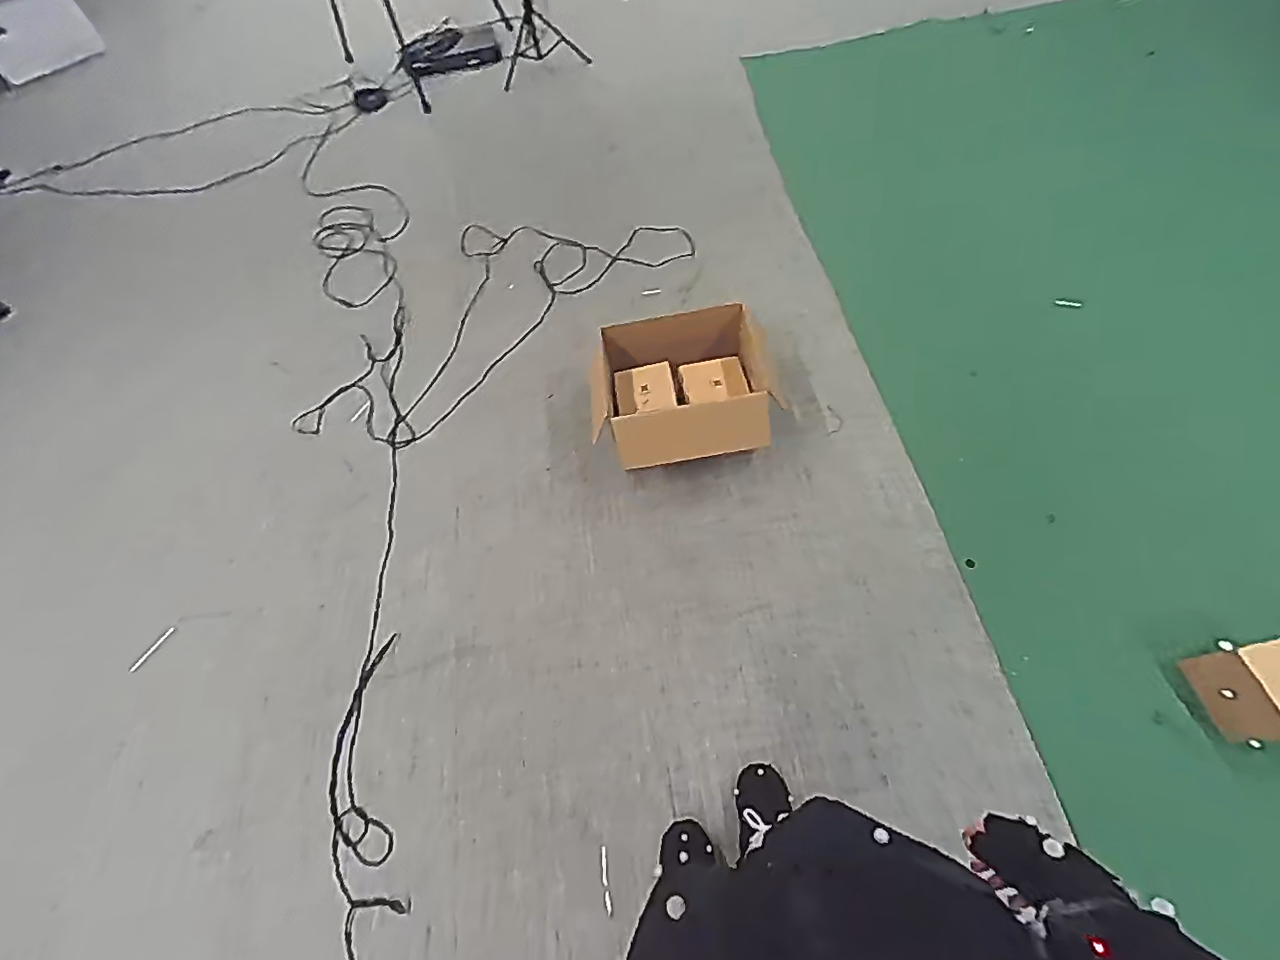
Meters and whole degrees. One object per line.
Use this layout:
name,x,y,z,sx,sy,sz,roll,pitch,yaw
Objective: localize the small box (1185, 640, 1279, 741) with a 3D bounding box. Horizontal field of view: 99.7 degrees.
small box,1.335,0.440,1.135,0.168,0.176,0.179,-13,61,0
